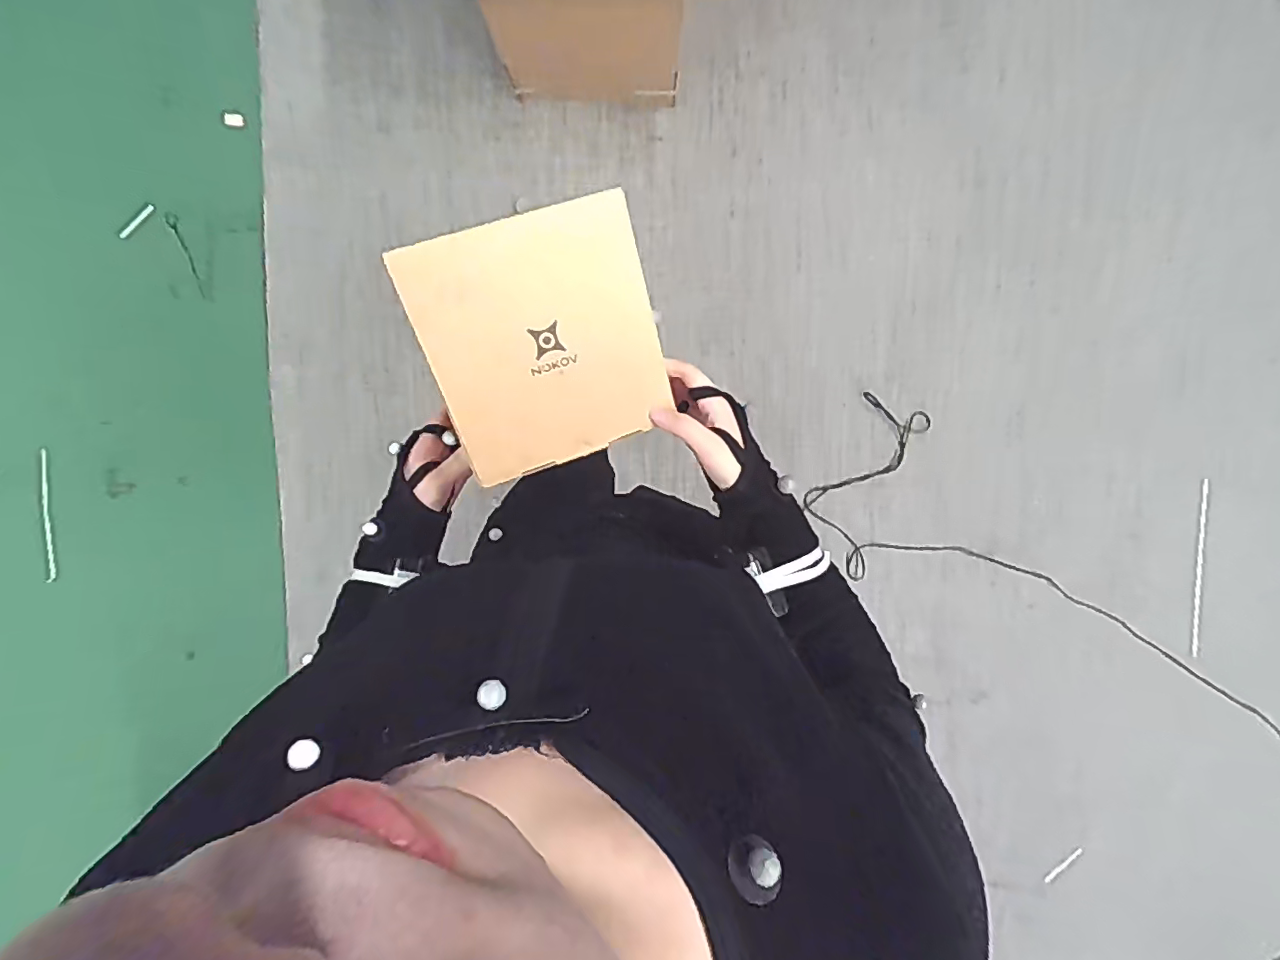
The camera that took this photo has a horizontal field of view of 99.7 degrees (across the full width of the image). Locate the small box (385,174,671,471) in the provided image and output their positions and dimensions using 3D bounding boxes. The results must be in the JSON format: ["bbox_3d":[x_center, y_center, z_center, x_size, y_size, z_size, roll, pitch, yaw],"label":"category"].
[{"bbox_3d":[-0.093,-0.135,0.460,0.168,0.176,0.179,-20,117,-10],"label":"small box"}]
